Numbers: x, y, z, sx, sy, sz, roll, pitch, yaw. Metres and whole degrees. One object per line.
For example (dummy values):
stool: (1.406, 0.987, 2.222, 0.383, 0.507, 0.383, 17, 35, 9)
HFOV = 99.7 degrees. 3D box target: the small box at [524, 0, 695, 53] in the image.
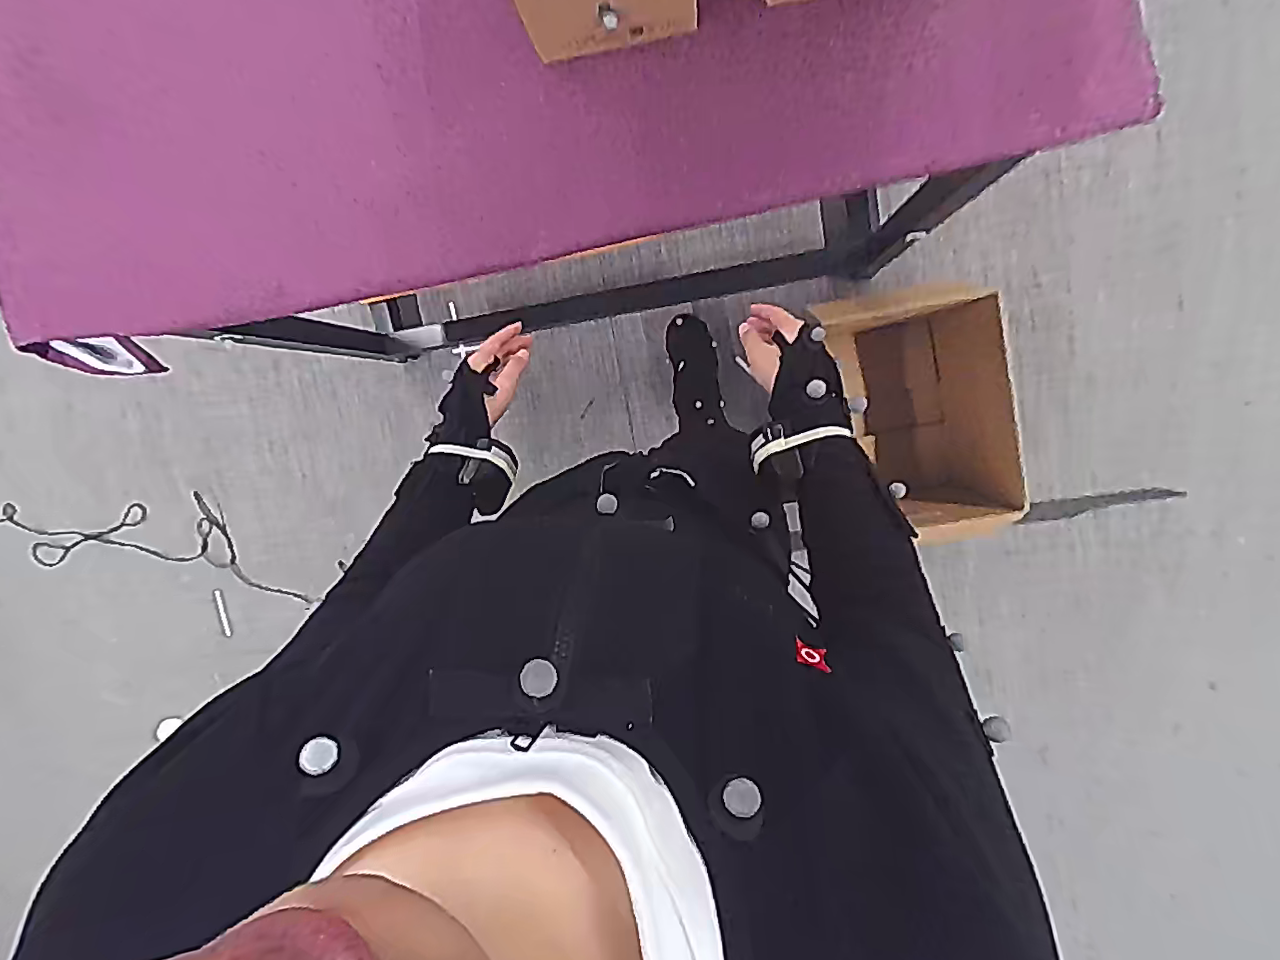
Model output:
small box: (-0.041, -0.528, 0.470, 0.168, 0.176, 0.179, -6, 97, 8)
